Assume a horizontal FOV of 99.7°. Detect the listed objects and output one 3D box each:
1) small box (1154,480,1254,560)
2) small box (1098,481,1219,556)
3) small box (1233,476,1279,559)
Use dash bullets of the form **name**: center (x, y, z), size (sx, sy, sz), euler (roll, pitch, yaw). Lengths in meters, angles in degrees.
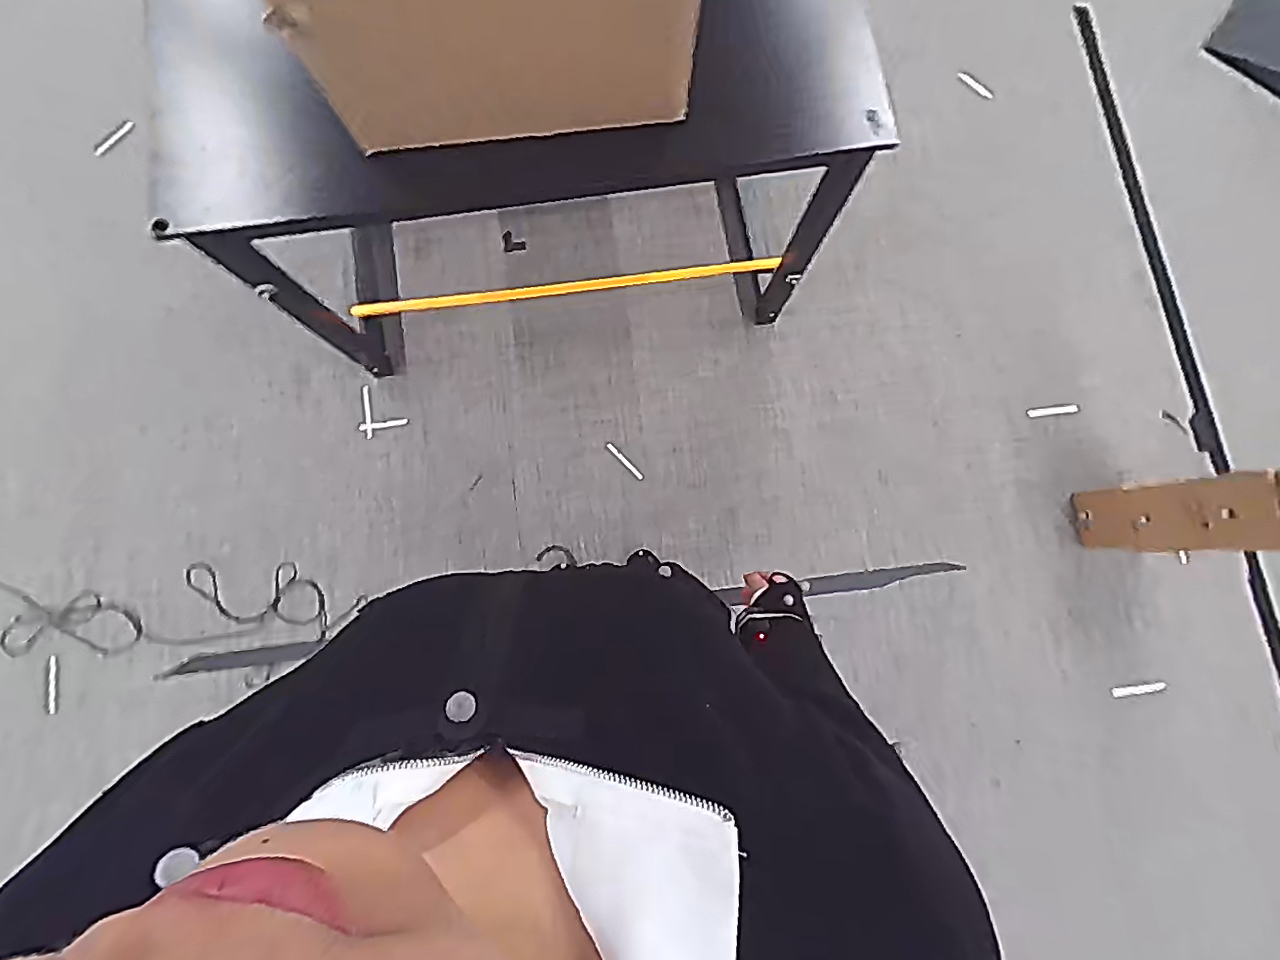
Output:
- **small box**: center (1.349, 0.089, 1.234), size (0.179, 0.176, 0.168), euler (-8, 81, -2)
- **small box**: center (1.353, 0.103, 1.399), size (0.179, 0.176, 0.168), euler (-9, 82, -1)
- **small box**: center (1.350, 0.067, 1.072), size (0.179, 0.176, 0.168), euler (-7, 82, -2)
